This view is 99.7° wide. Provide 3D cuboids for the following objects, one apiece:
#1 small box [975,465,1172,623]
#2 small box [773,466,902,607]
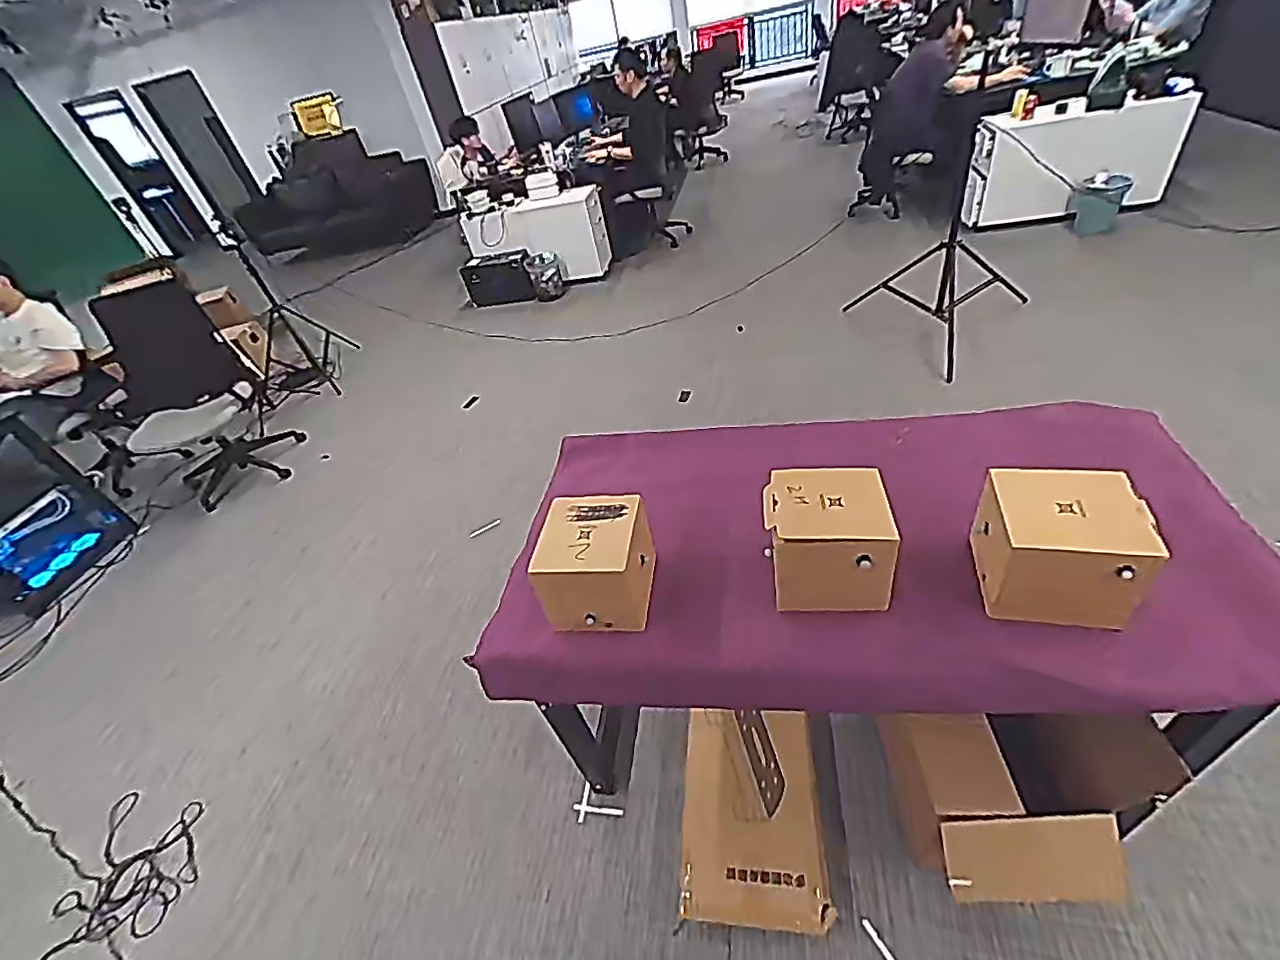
[{"bbox_3d":[0.621,0.095,0.809,0.179,0.176,0.168,2,43,18],"label":"small box"},{"bbox_3d":[0.315,0.095,0.896,0.179,0.176,0.168,-3,39,13],"label":"small box"}]
